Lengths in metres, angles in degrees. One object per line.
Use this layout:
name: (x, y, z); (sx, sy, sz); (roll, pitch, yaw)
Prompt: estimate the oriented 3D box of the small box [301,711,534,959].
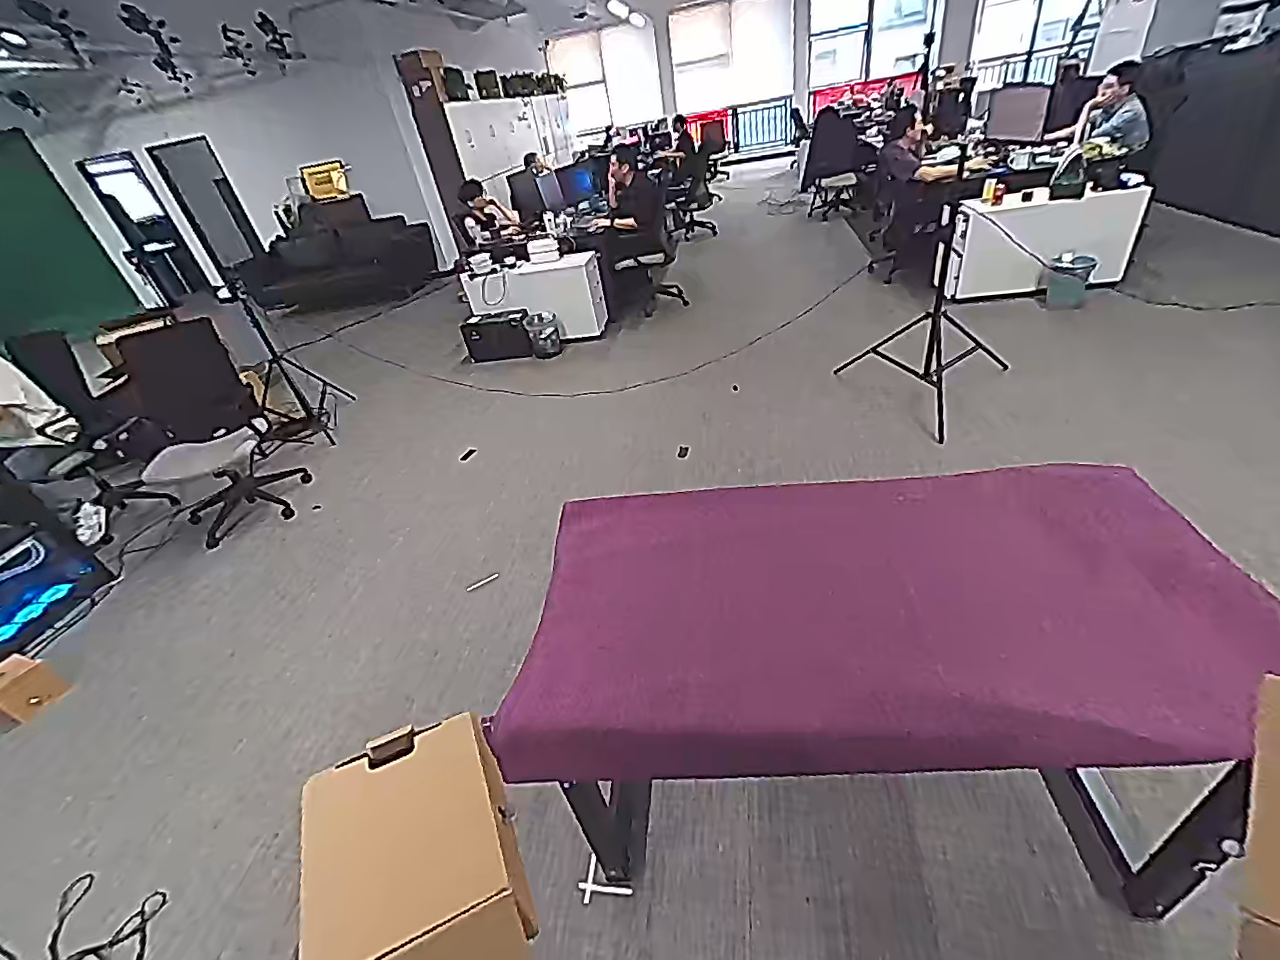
small box: (-0.214, 0.377, 0.542); (0.168, 0.176, 0.179); (-17, 41, -18)
